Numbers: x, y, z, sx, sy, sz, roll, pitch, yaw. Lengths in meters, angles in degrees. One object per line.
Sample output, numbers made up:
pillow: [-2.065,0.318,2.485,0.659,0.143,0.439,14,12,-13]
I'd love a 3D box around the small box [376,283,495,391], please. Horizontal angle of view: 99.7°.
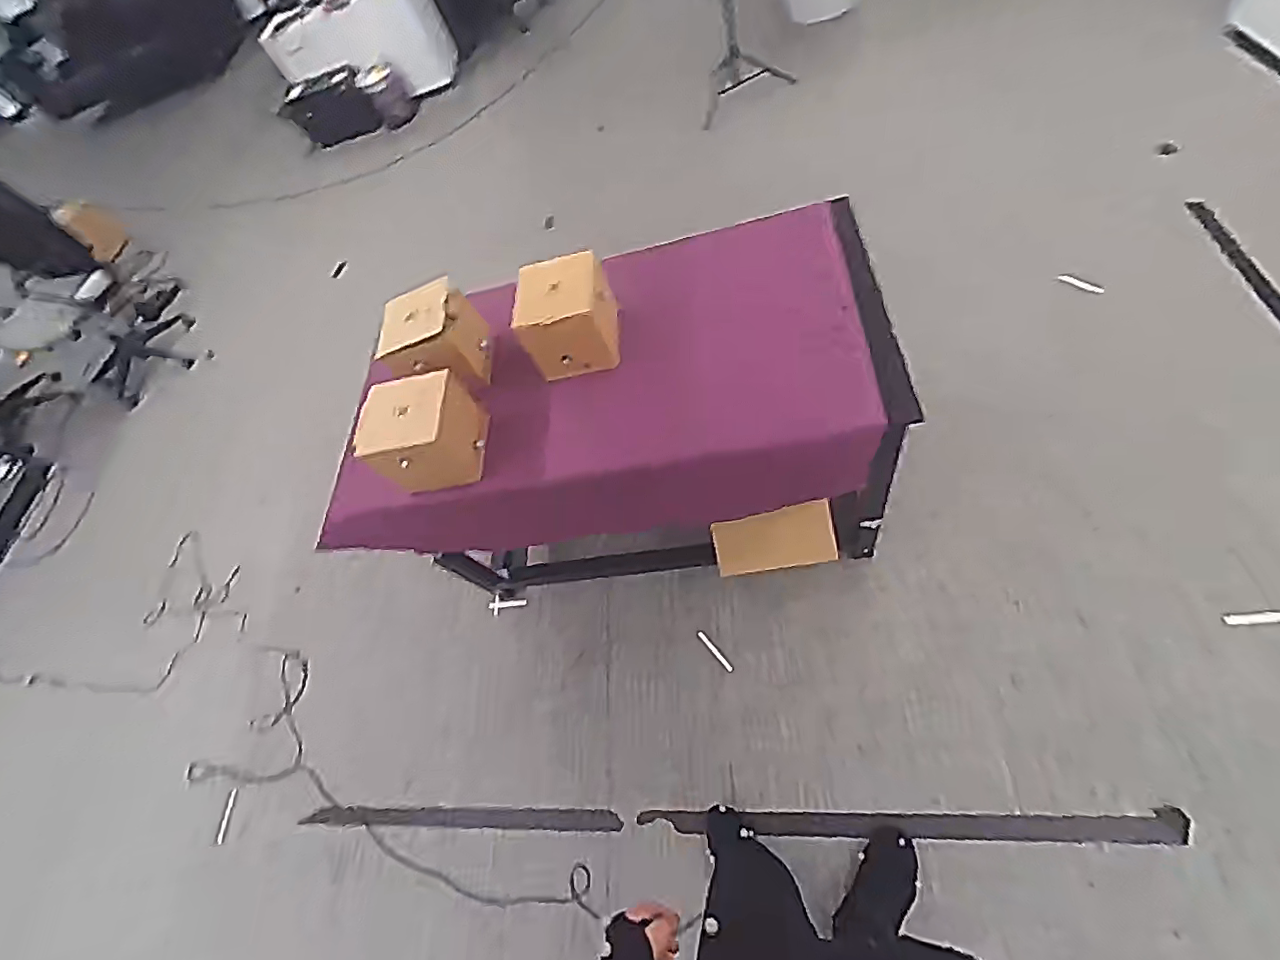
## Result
small box: [-0.450,-0.303,1.211,0.179,0.176,0.168,-11,61,11]

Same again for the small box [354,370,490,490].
small box: [-0.430,-0.093,1.092,0.179,0.176,0.168,-9,61,12]
